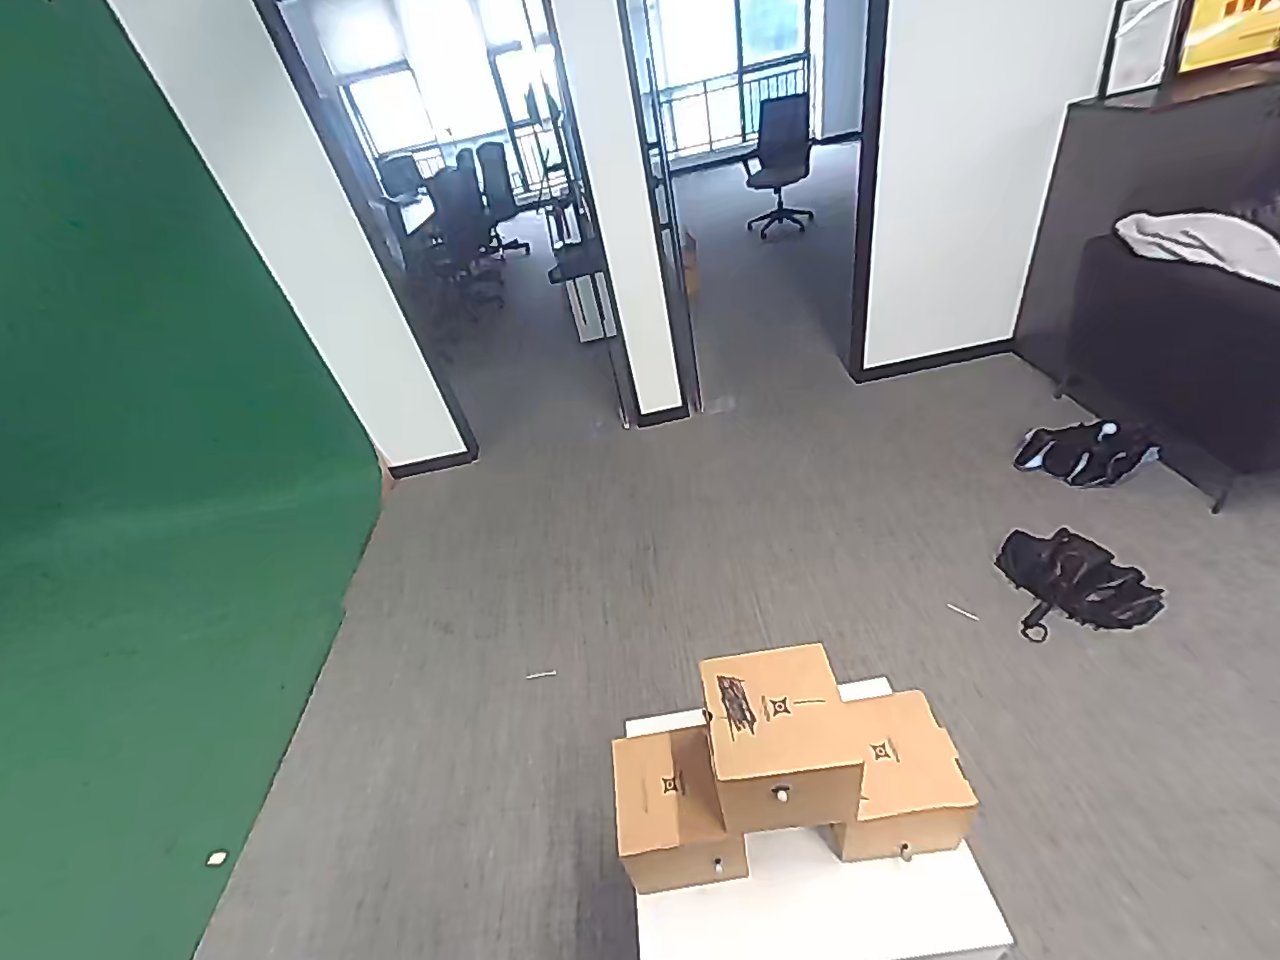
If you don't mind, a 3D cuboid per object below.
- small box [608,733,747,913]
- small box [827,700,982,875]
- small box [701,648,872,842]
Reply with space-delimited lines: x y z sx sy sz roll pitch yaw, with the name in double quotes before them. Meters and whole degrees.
"small box" 0.056 0.513 0.813 0.179 0.176 0.168 -11 35 -1
"small box" 0.364 0.461 0.810 0.179 0.176 0.168 -10 37 2
"small box" 0.185 0.353 0.719 0.179 0.176 0.168 -9 36 2
